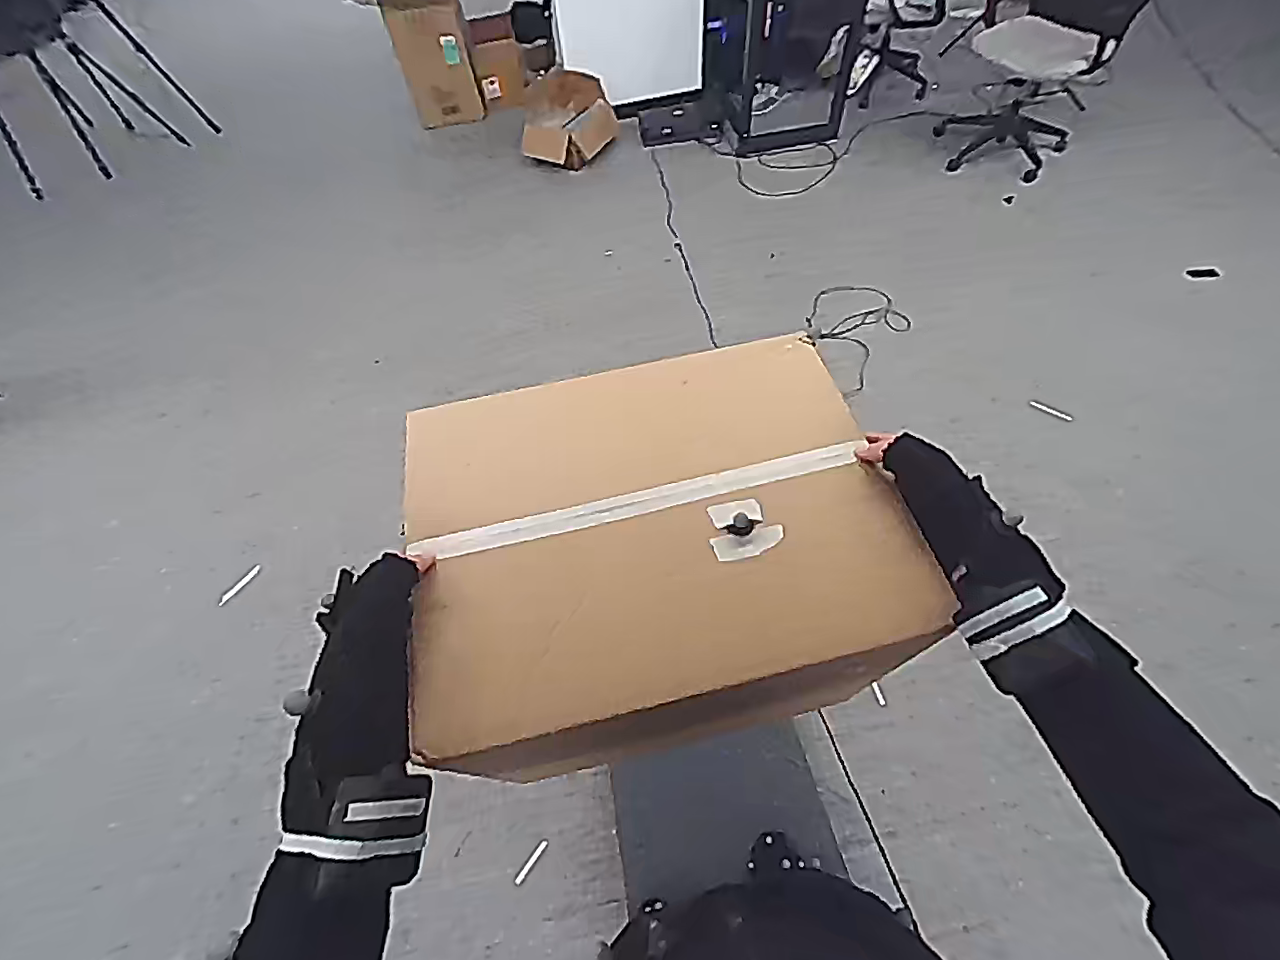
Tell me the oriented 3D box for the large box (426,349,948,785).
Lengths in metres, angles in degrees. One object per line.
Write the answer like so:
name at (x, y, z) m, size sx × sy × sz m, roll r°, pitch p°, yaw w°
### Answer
large box at (0.019, 0.109, 0.601) m, size 0.408 × 0.320 × 0.320 m, roll -13°, pitch 59°, yaw -5°
